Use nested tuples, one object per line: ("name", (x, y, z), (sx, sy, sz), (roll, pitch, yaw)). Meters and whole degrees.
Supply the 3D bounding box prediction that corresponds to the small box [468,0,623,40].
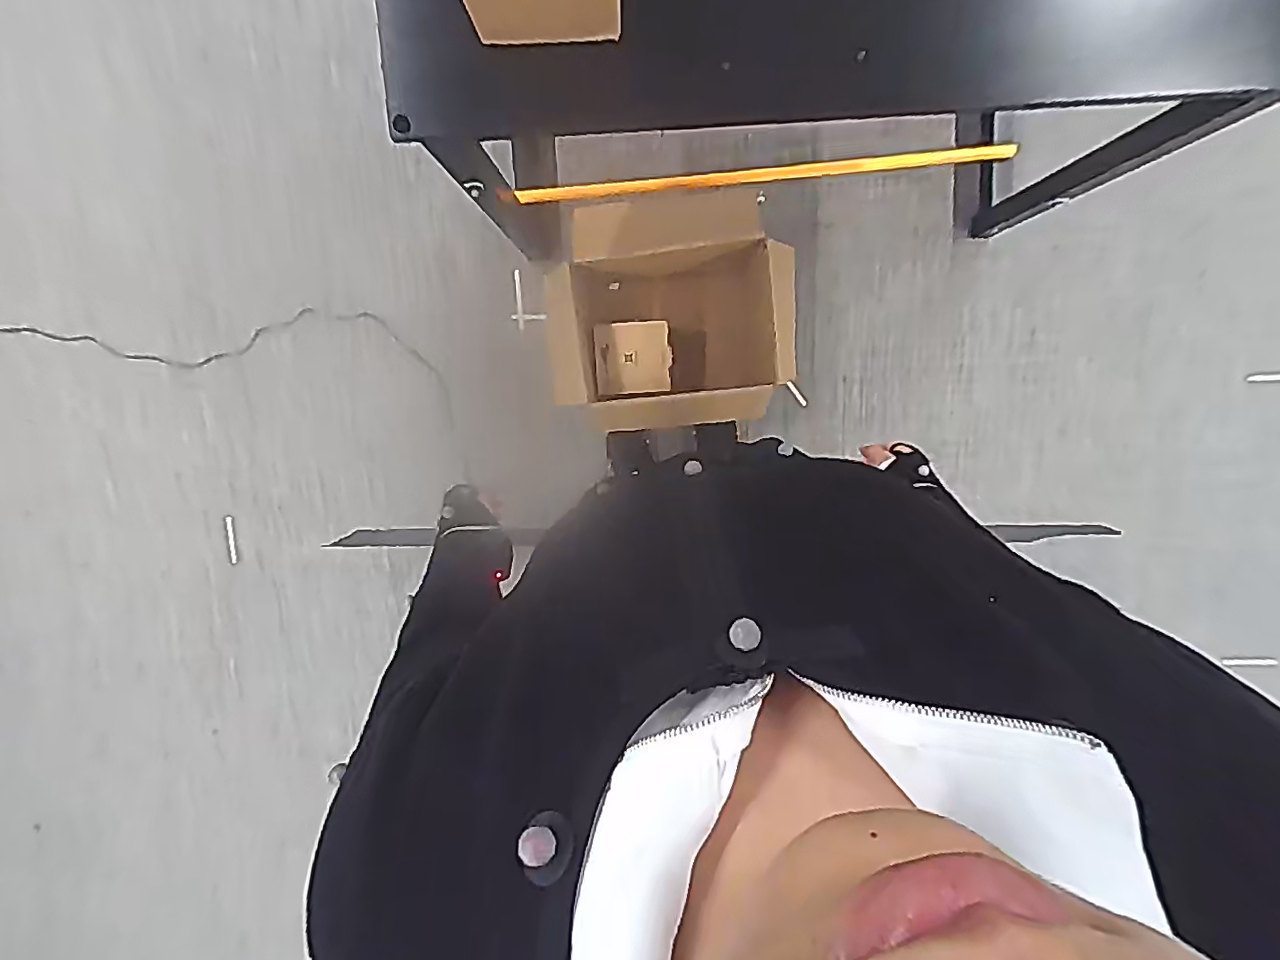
("small box", (-0.111, -0.610, 0.576), (0.179, 0.176, 0.168), (-2, 100, 0))
